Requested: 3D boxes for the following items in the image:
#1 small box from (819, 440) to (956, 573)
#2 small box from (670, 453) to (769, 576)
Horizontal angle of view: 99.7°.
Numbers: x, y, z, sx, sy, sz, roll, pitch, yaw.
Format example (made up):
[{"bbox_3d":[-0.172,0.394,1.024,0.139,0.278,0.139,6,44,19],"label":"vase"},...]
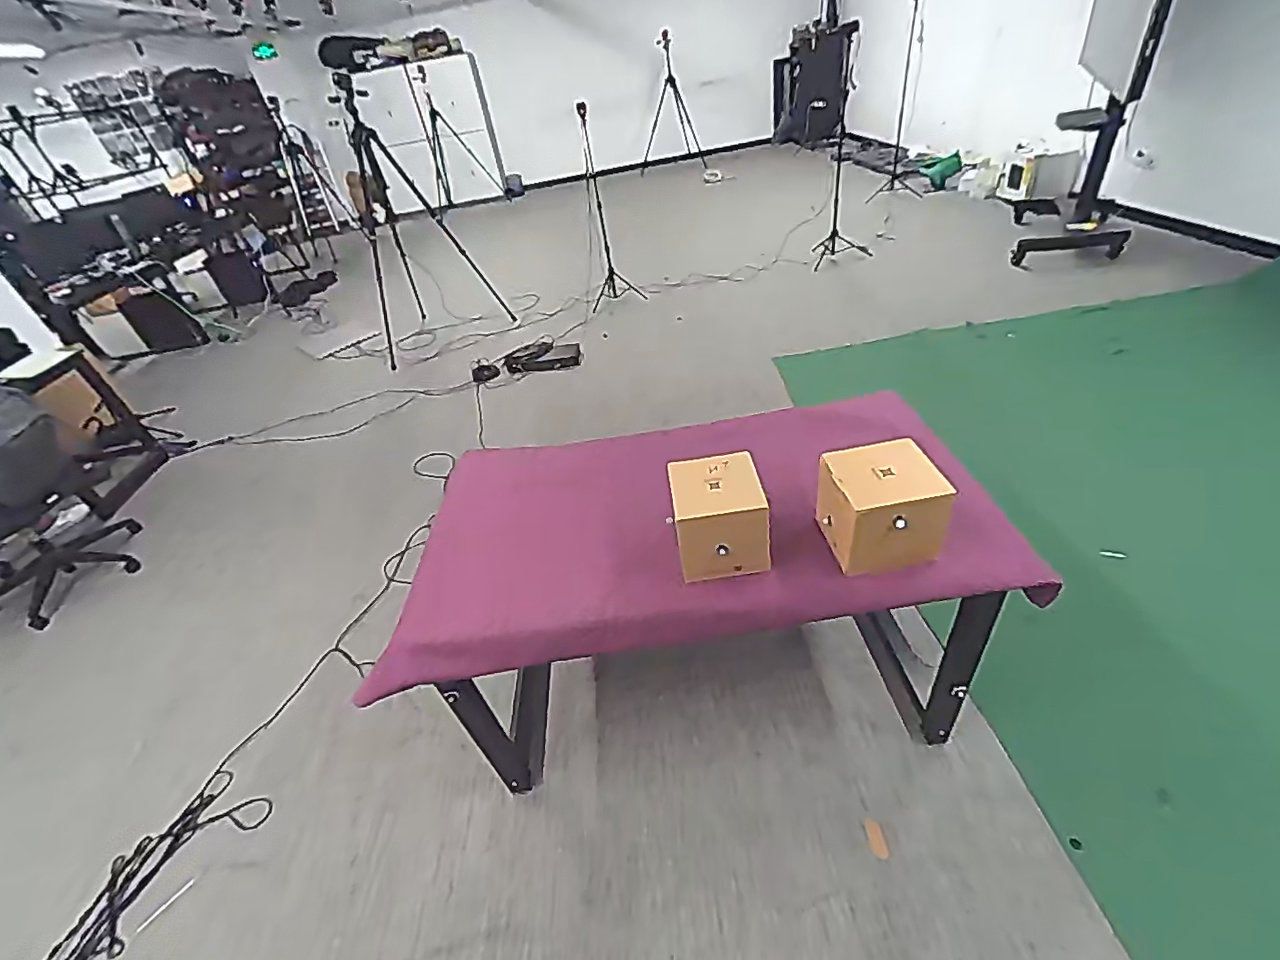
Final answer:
[{"bbox_3d":[0.450,0.052,1.017,0.179,0.176,0.168,-11,39,2],"label":"small box"},{"bbox_3d":[0.155,0.073,1.063,0.168,0.176,0.179,-8,37,4],"label":"small box"}]
